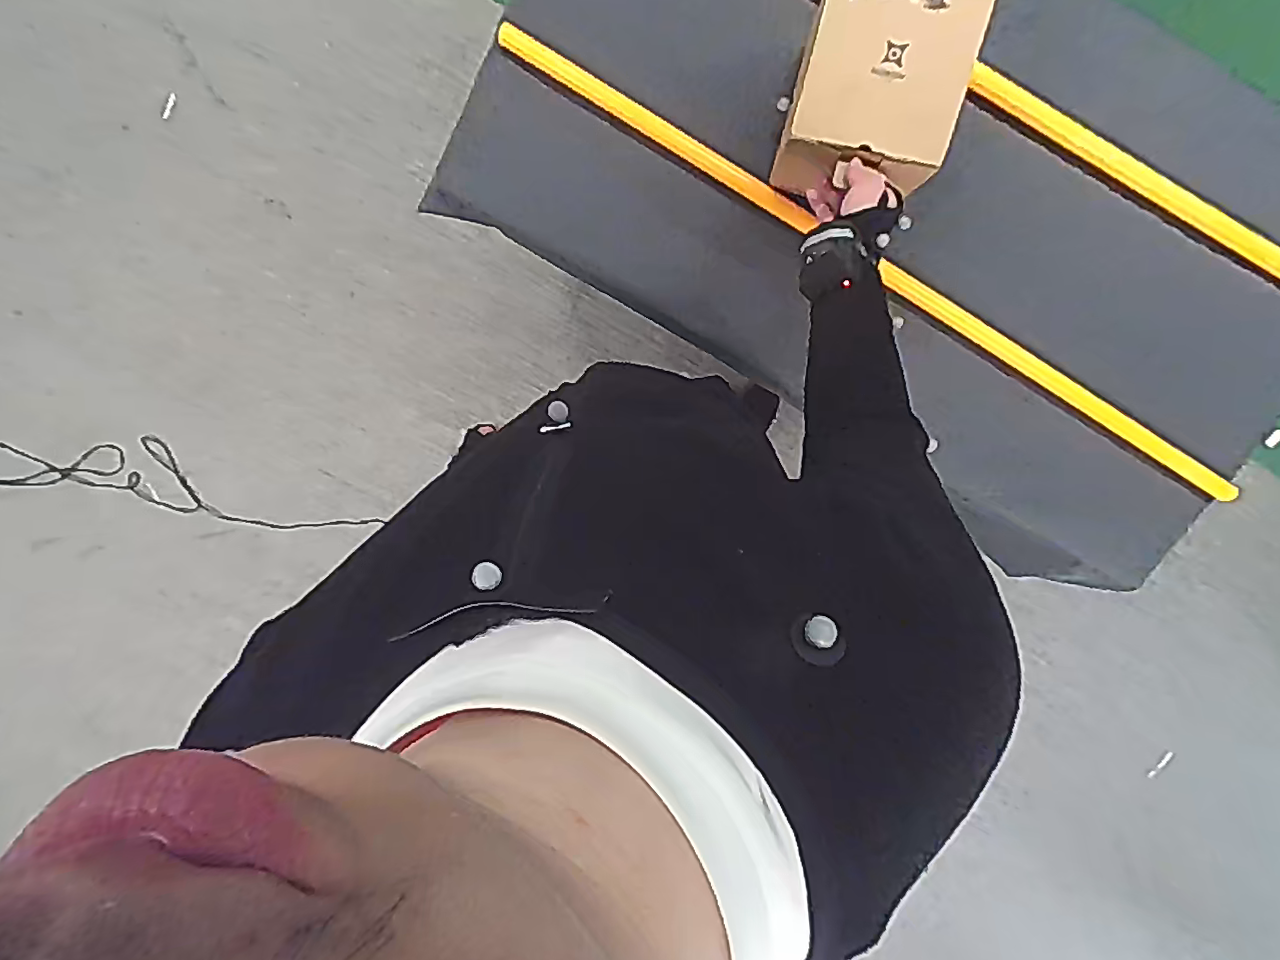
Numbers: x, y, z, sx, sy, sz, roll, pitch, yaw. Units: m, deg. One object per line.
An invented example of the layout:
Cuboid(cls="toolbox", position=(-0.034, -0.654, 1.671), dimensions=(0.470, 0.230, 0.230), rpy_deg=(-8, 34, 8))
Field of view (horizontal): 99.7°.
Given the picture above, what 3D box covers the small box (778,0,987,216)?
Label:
Cuboid(cls="small box", position=(0.269, -0.439, 0.650), dimensions=(0.168, 0.176, 0.179), rpy_deg=(12, 101, 6))
